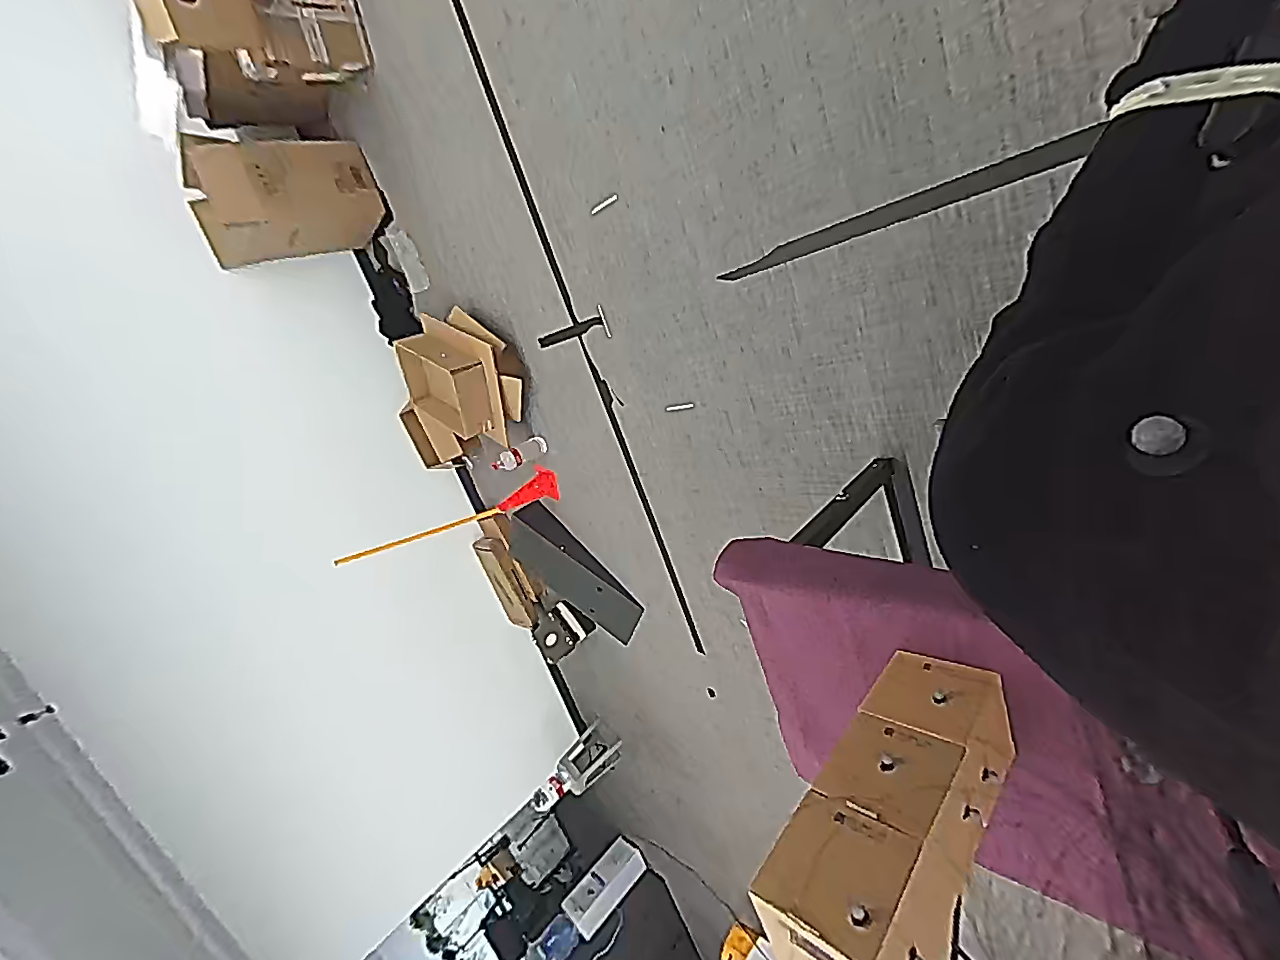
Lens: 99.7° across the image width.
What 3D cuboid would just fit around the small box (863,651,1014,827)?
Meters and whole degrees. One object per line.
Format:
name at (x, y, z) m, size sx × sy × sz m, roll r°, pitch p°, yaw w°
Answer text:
small box at (0.503, 0.418, 0.906) m, size 0.168 × 0.176 × 0.179 m, roll -1°, pitch 116°, yaw 50°

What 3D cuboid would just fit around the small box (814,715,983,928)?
small box at (0.392, 0.493, 0.812) m, size 0.168 × 0.176 × 0.179 m, roll 1°, pitch 116°, yaw 49°
